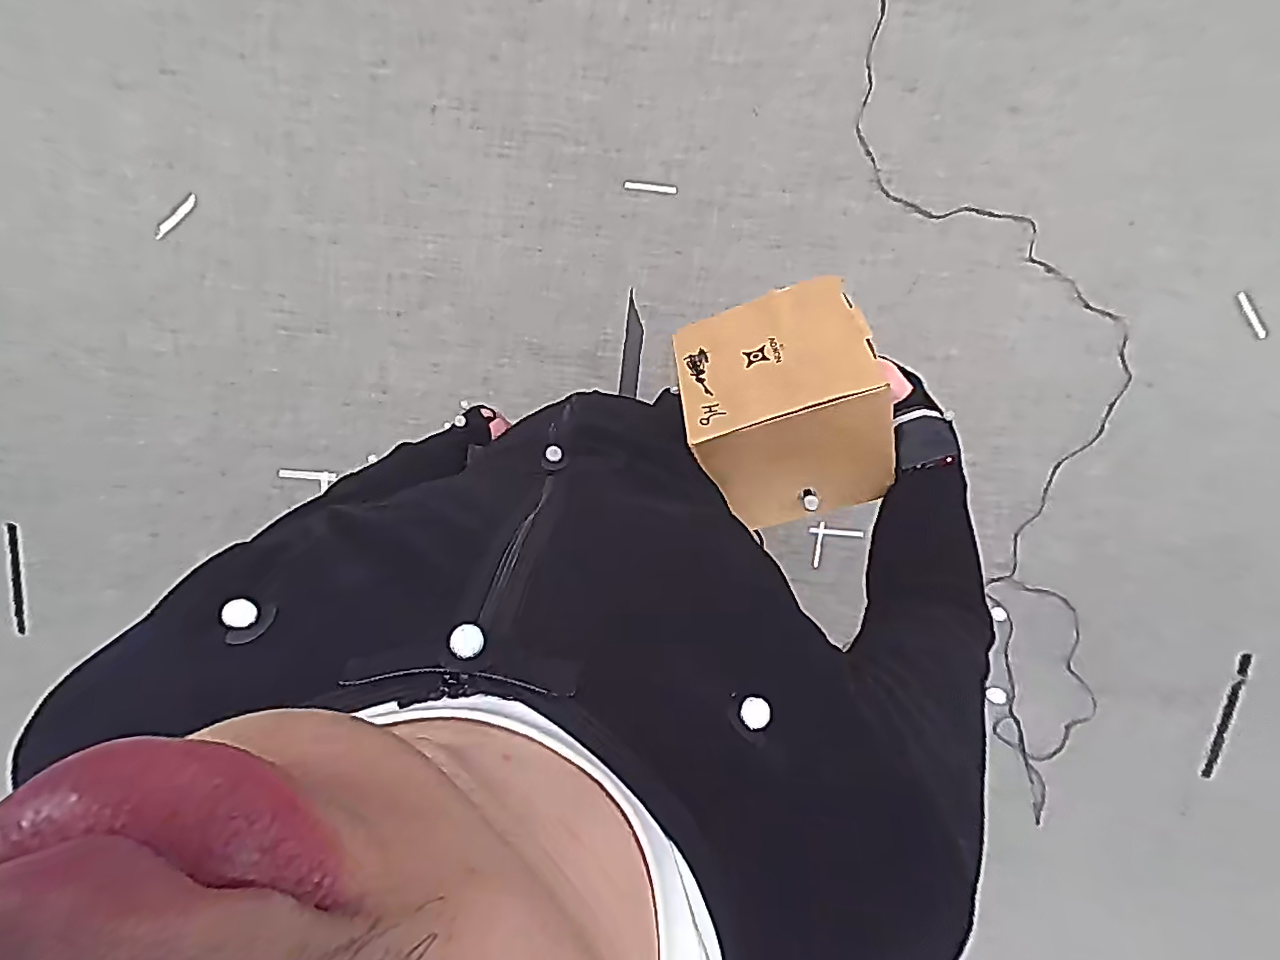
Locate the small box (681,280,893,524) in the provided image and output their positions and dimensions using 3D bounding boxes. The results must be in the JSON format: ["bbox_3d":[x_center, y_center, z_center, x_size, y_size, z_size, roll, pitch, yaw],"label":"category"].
[{"bbox_3d":[0.158,-0.076,0.588,0.179,0.168,0.176,-16,139,15],"label":"small box"}]
